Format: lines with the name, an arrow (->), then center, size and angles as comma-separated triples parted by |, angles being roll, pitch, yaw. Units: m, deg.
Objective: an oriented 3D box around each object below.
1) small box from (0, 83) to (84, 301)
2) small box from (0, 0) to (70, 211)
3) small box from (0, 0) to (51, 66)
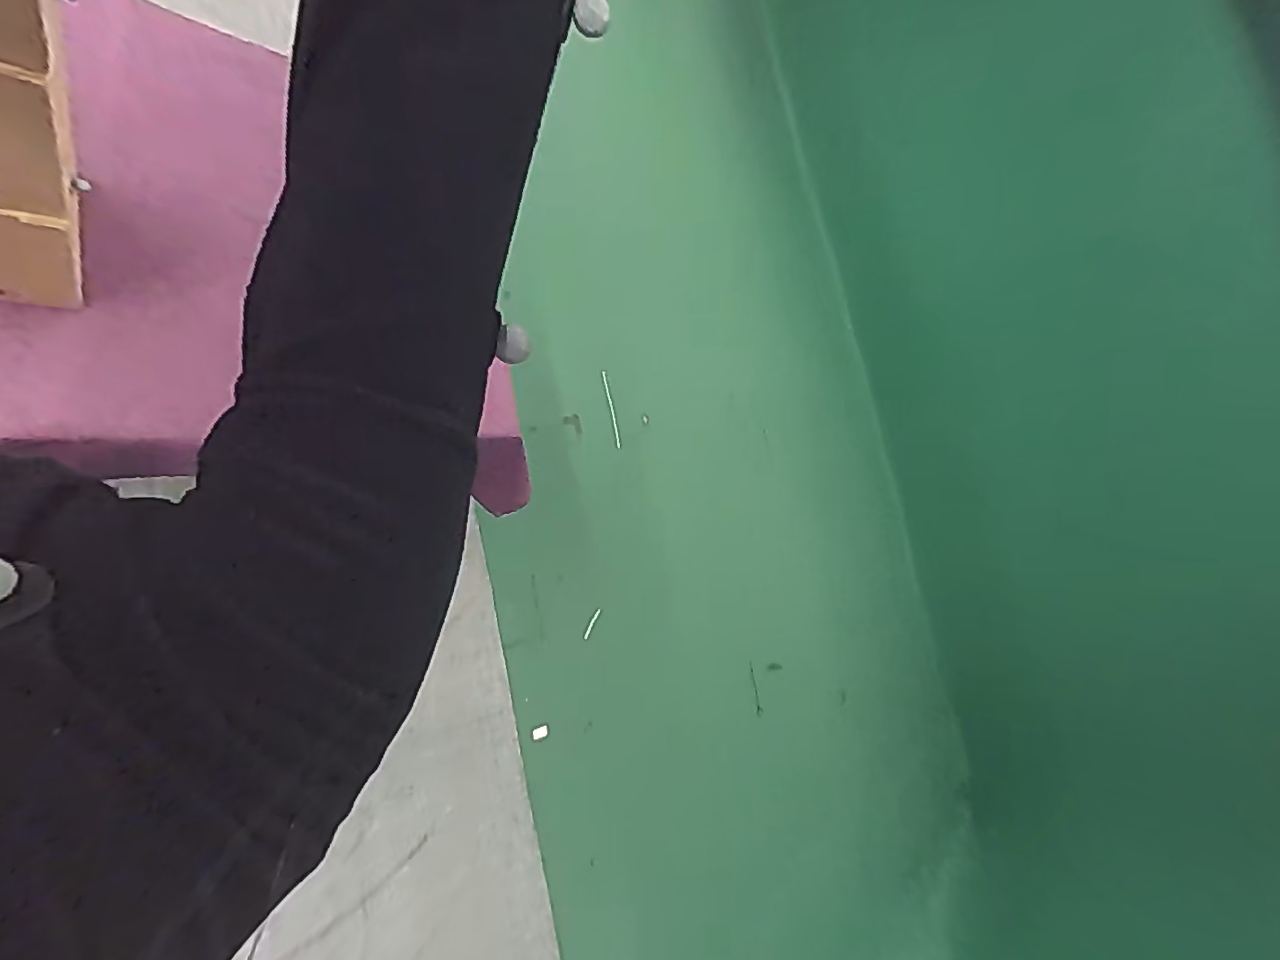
small box -> -0.645, -0.292, 0.505 | 0.168, 0.176, 0.179 | -4, 79, -44
small box -> -0.539, -0.337, 0.389 | 0.168, 0.176, 0.179 | -4, 80, -43
small box -> -0.431, -0.379, 0.274 | 0.168, 0.176, 0.179 | -4, 80, -43
